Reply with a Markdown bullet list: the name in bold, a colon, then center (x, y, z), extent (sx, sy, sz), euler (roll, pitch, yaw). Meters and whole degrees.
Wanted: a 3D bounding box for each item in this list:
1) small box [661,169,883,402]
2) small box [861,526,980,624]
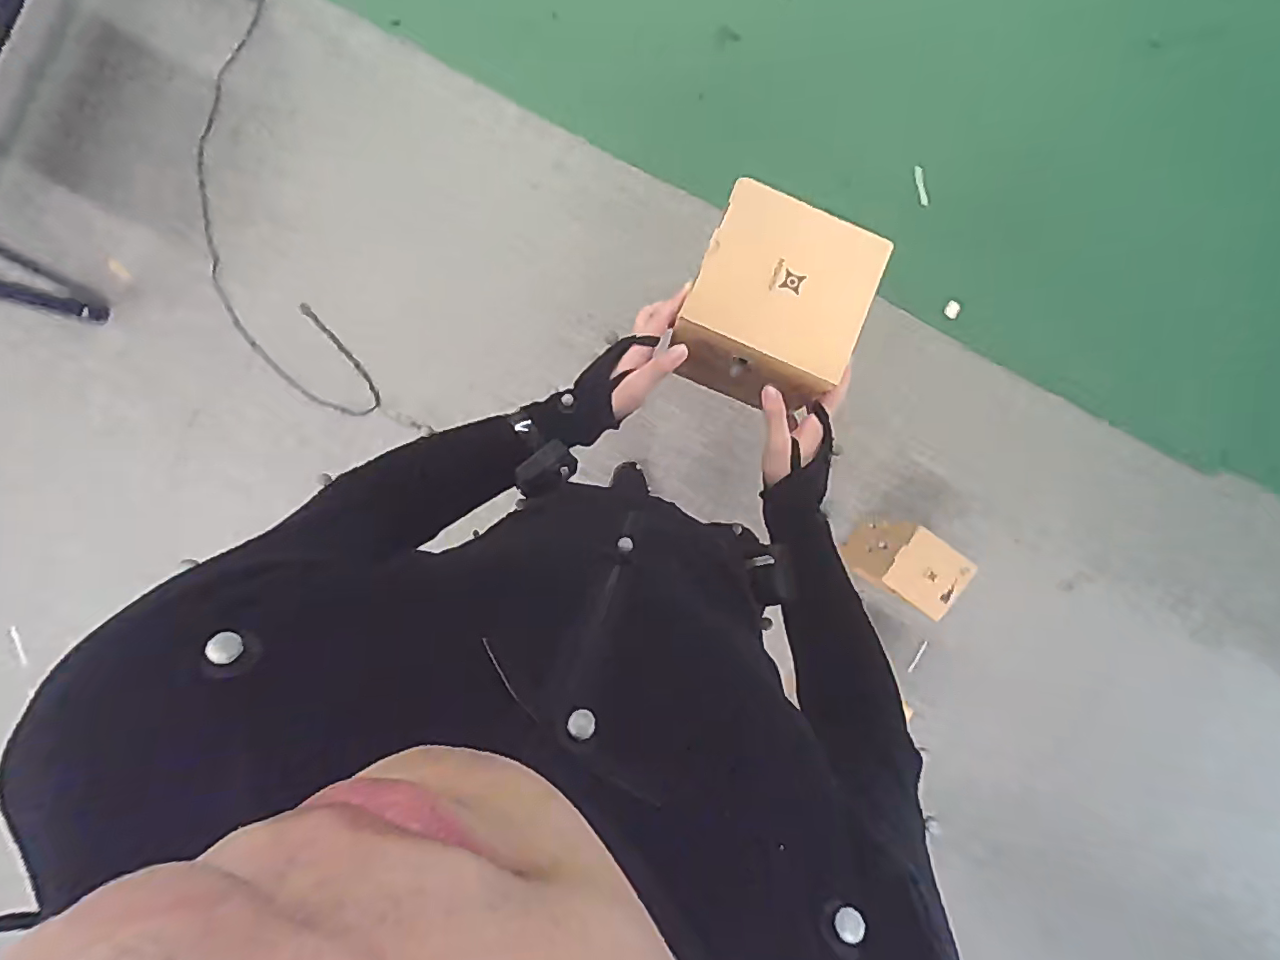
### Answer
- **small box**: center (0.137, -0.204, 0.623), extent (0.179, 0.176, 0.168), euler (22, 83, 0)
- **small box**: center (0.697, 0.230, 1.369), extent (0.179, 0.176, 0.168), euler (37, 92, 1)
